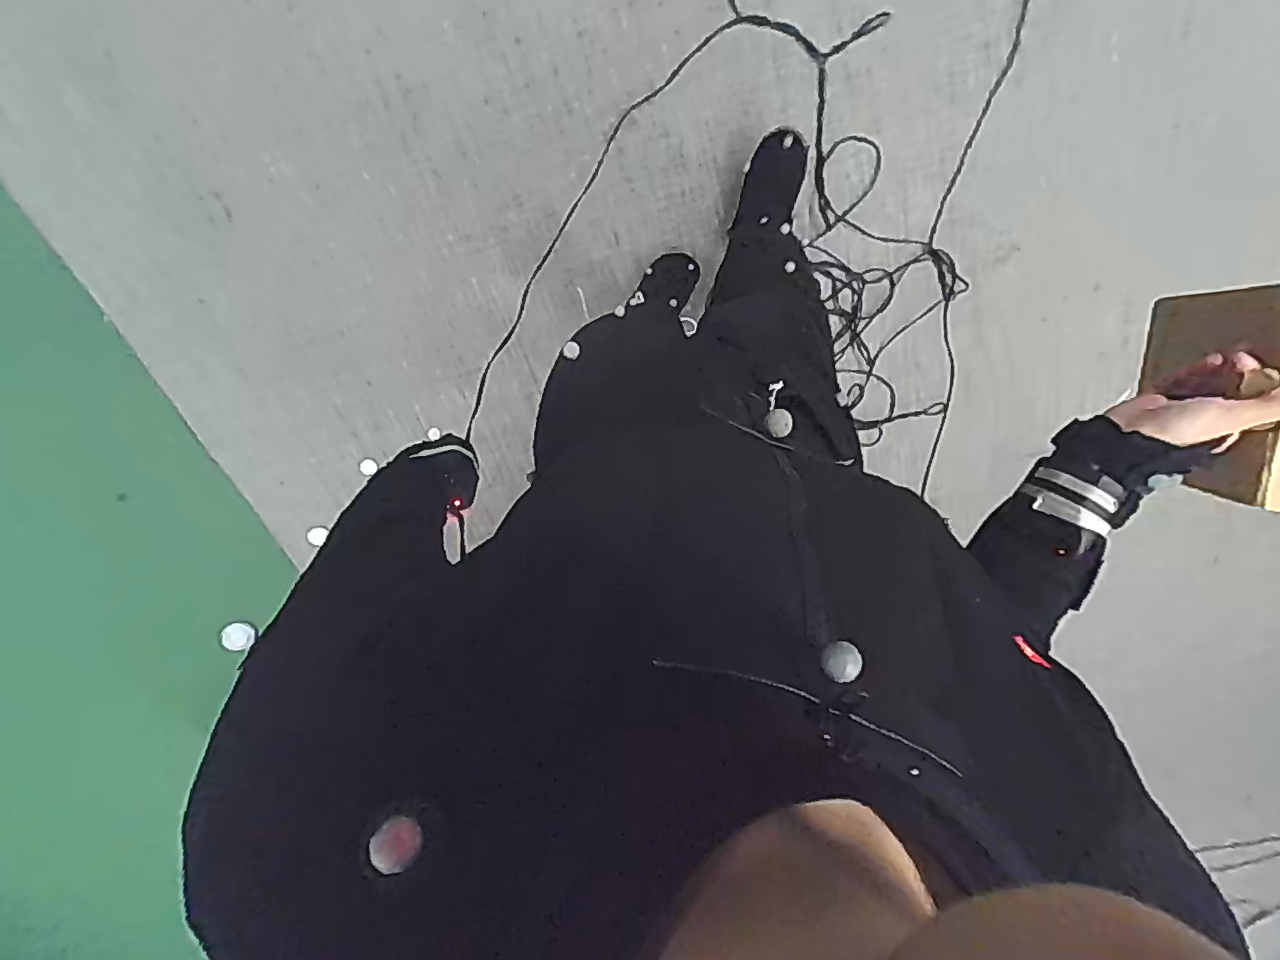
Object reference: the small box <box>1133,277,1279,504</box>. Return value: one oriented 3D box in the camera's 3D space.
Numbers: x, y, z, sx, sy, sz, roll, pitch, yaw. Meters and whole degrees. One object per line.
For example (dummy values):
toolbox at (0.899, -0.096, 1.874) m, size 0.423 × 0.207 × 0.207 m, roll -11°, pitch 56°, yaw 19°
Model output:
small box at (0.559, -0.077, 0.439) m, size 0.179 × 0.176 × 0.168 m, roll 0°, pitch 104°, yaw 13°
